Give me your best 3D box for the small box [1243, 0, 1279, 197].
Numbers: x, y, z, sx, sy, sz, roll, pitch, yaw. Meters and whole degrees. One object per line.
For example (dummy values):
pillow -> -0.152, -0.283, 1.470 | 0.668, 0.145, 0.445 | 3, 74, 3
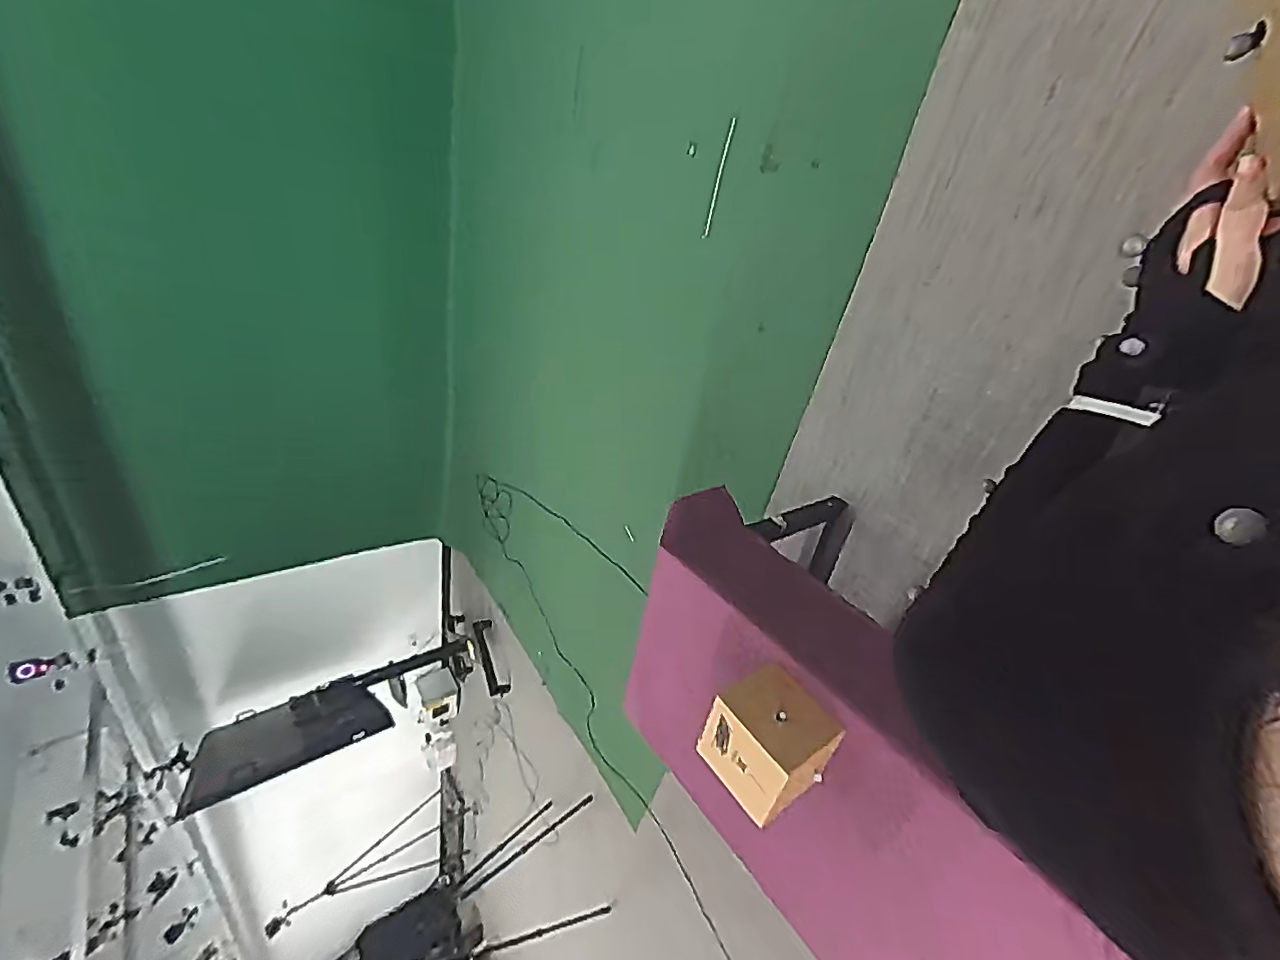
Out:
small box -> 0.409, -0.251, 0.245 | 0.179, 0.176, 0.168 | -2, 102, 44

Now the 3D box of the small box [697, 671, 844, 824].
small box -> 0.242, 0.486, 1.015 | 0.179, 0.176, 0.168 | 40, 130, 39
